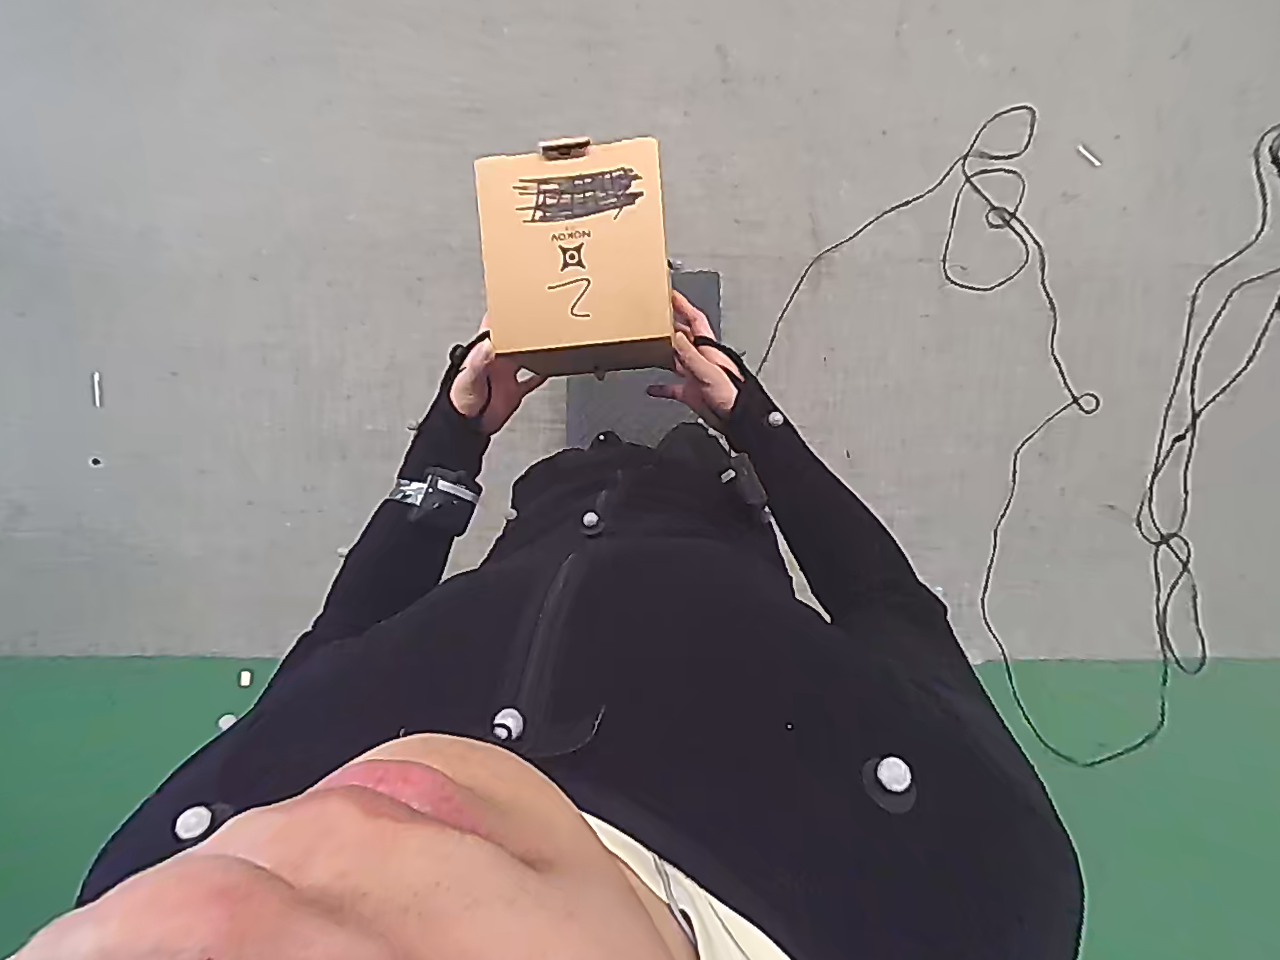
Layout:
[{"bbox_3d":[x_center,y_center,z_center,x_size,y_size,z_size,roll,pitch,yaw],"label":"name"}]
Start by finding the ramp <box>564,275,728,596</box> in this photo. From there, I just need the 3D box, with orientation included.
[{"bbox_3d":[0.012,-0.152,1.664,0.509,0.206,0.991,-2,94,0],"label":"ramp"}]
